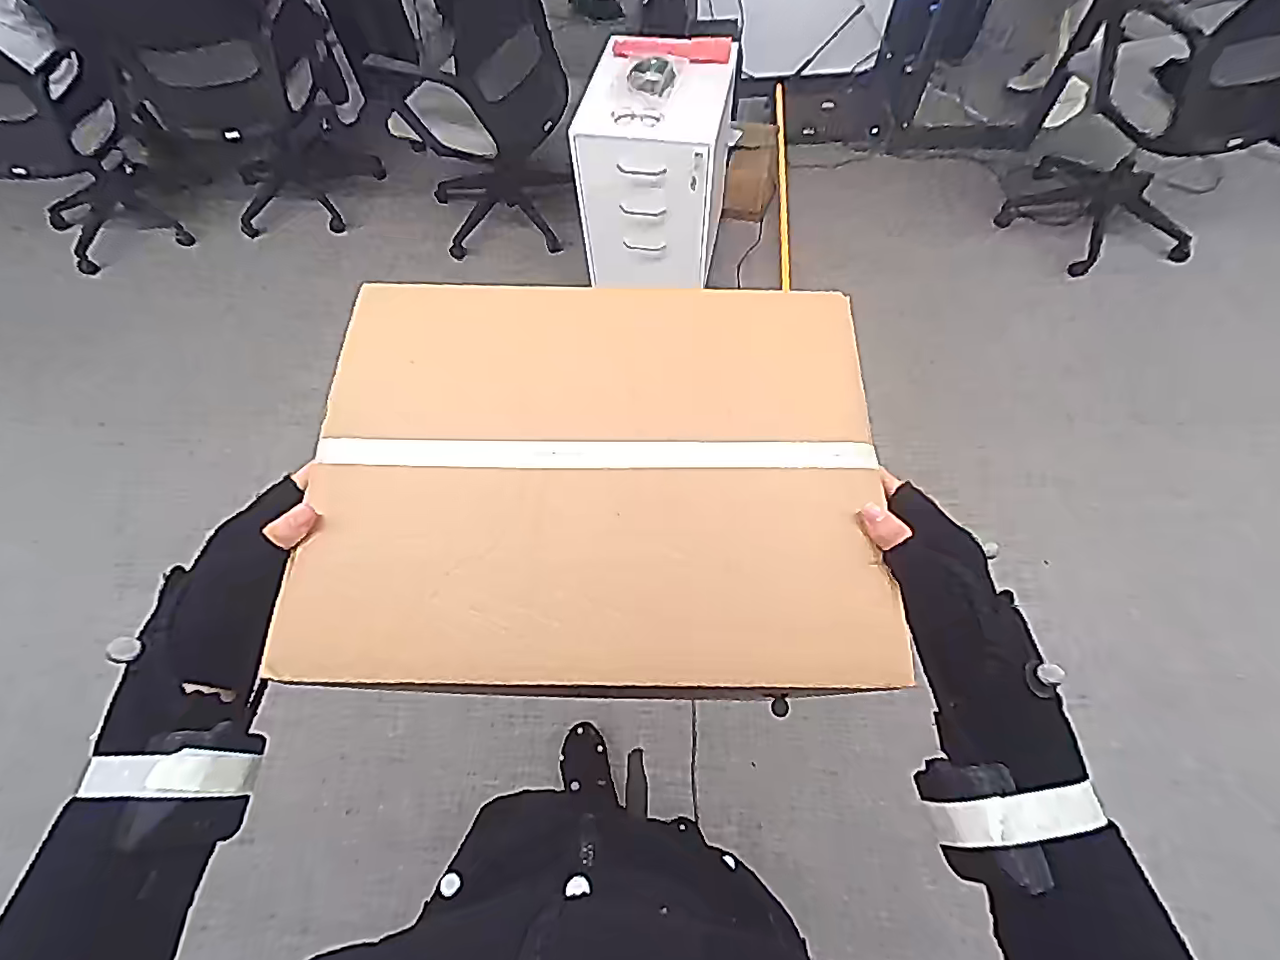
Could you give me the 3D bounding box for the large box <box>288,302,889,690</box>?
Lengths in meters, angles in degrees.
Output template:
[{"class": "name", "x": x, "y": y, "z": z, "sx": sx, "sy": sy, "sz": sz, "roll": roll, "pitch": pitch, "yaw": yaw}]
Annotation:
[{"class": "large box", "x": -0.032, "y": 0.045, "z": 0.547, "sx": 0.408, "sy": 0.320, "sz": 0.320, "roll": 1, "pitch": 67, "yaw": 0}]
